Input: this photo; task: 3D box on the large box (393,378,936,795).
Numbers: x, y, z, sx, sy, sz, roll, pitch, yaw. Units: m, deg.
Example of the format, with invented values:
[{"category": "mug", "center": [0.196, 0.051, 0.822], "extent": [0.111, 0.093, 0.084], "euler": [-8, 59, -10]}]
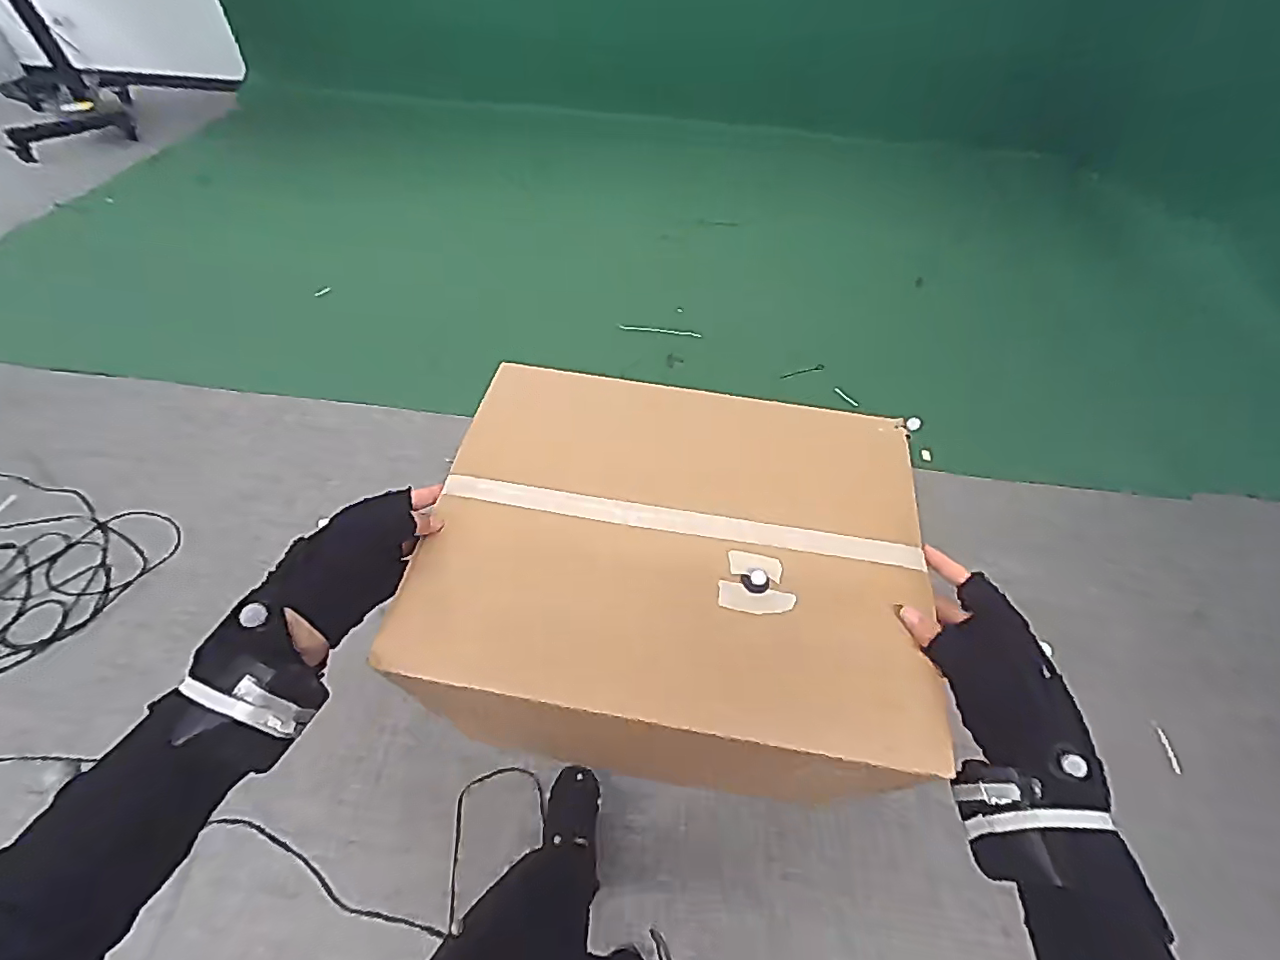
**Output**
[{"category": "large box", "center": [0.027, 0.126, 0.592], "extent": [0.408, 0.320, 0.320], "euler": [8, 56, 4]}]
